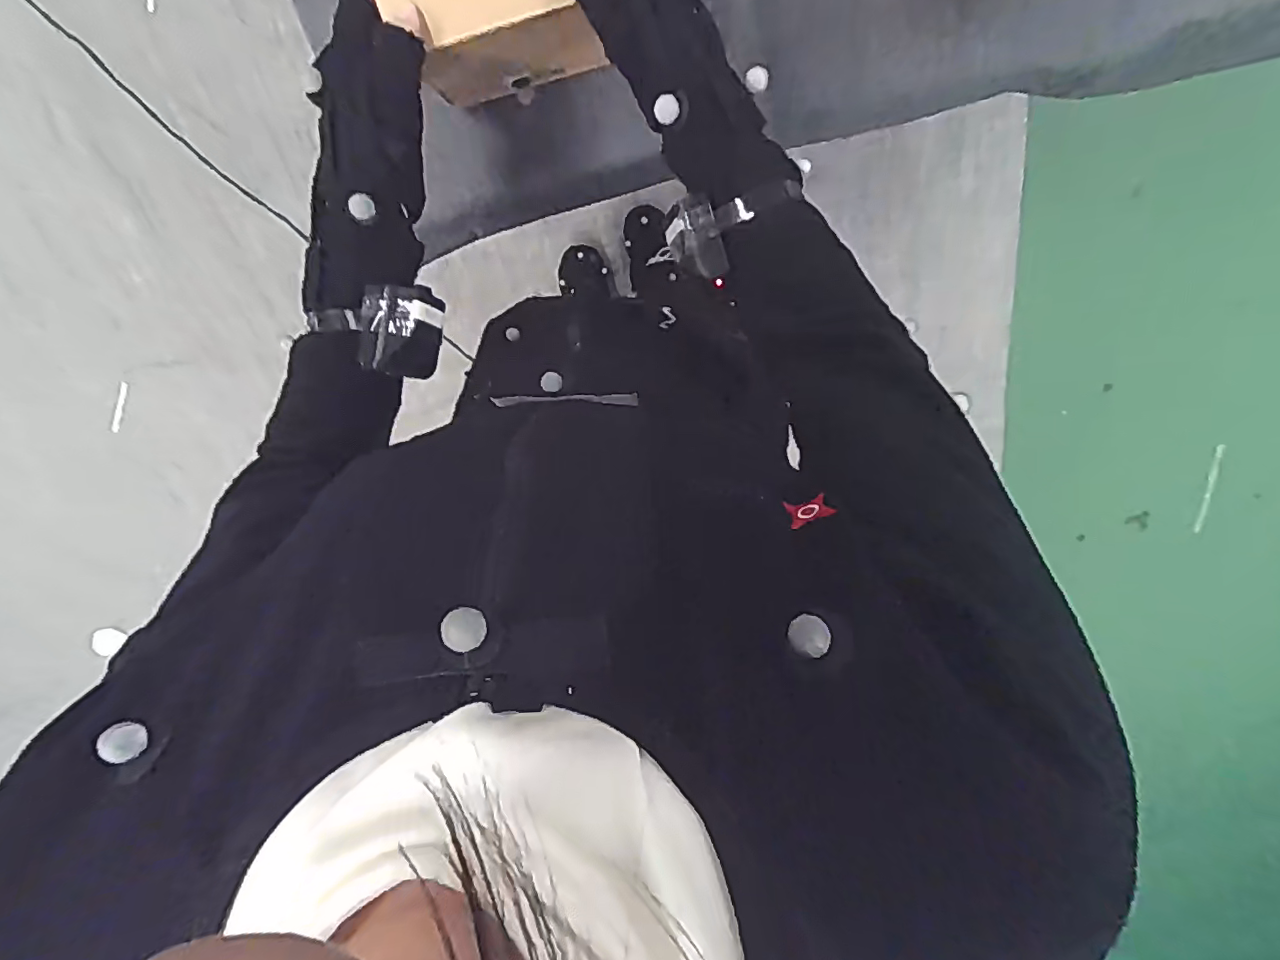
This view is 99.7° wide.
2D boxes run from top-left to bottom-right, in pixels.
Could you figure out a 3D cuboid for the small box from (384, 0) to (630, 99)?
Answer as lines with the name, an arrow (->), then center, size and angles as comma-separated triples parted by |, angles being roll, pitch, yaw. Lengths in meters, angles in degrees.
small box -> -0.111, -0.419, 0.397 | 0.168, 0.176, 0.179 | -16, 115, 3
